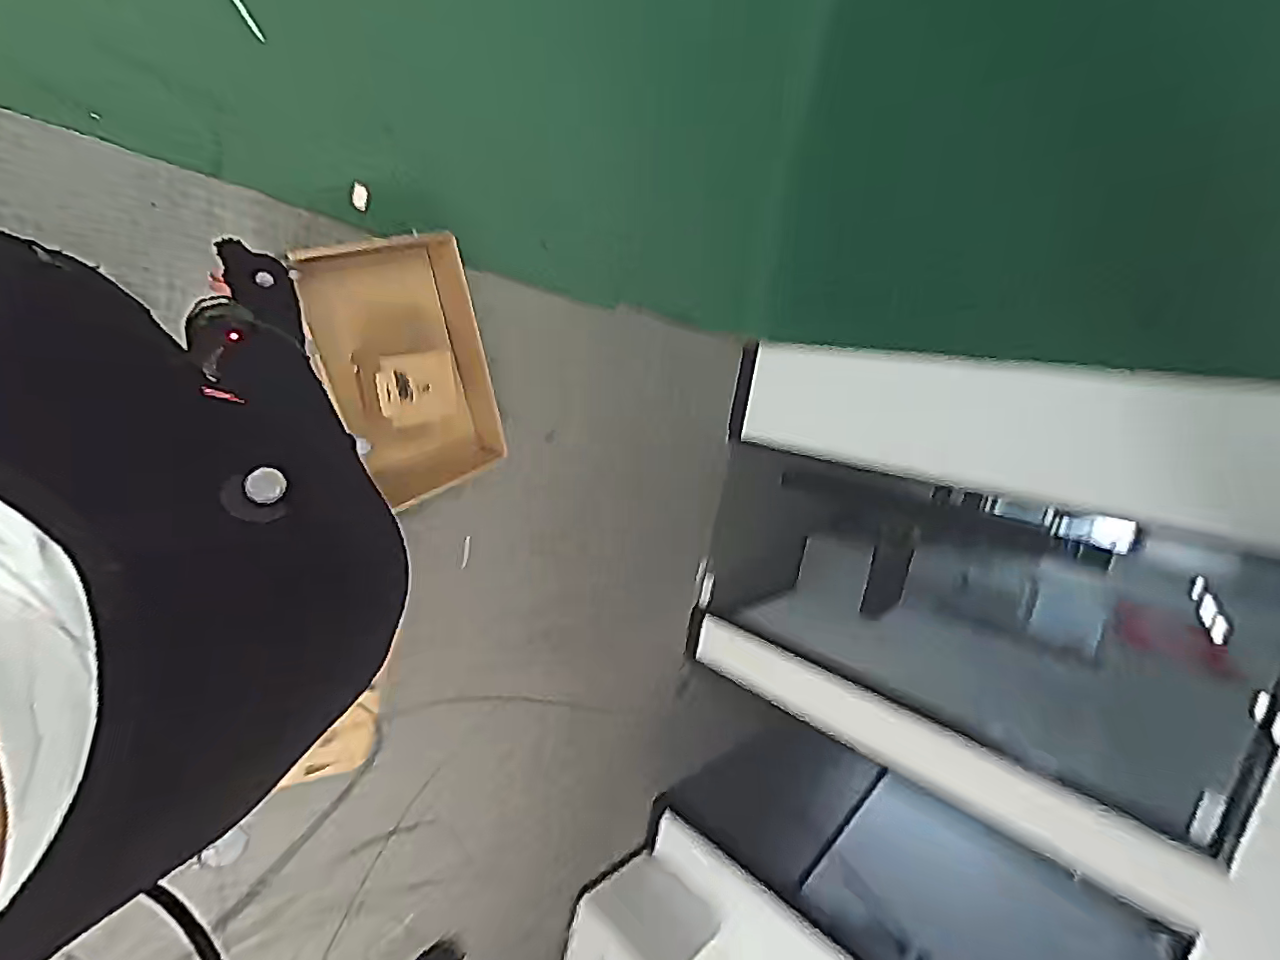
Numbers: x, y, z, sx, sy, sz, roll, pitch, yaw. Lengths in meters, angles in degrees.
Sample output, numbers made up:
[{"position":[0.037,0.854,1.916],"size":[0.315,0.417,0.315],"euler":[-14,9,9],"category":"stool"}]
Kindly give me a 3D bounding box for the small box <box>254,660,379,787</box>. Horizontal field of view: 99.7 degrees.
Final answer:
[{"position":[-0.681,0.493,1.133],"size":[0.168,0.176,0.179],"euler":[11,95,-50],"category":"small box"}]

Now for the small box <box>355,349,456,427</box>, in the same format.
[{"position":[-0.597,-0.239,1.369],"size":[0.179,0.176,0.168],"euler":[-23,119,-45],"category":"small box"}]
